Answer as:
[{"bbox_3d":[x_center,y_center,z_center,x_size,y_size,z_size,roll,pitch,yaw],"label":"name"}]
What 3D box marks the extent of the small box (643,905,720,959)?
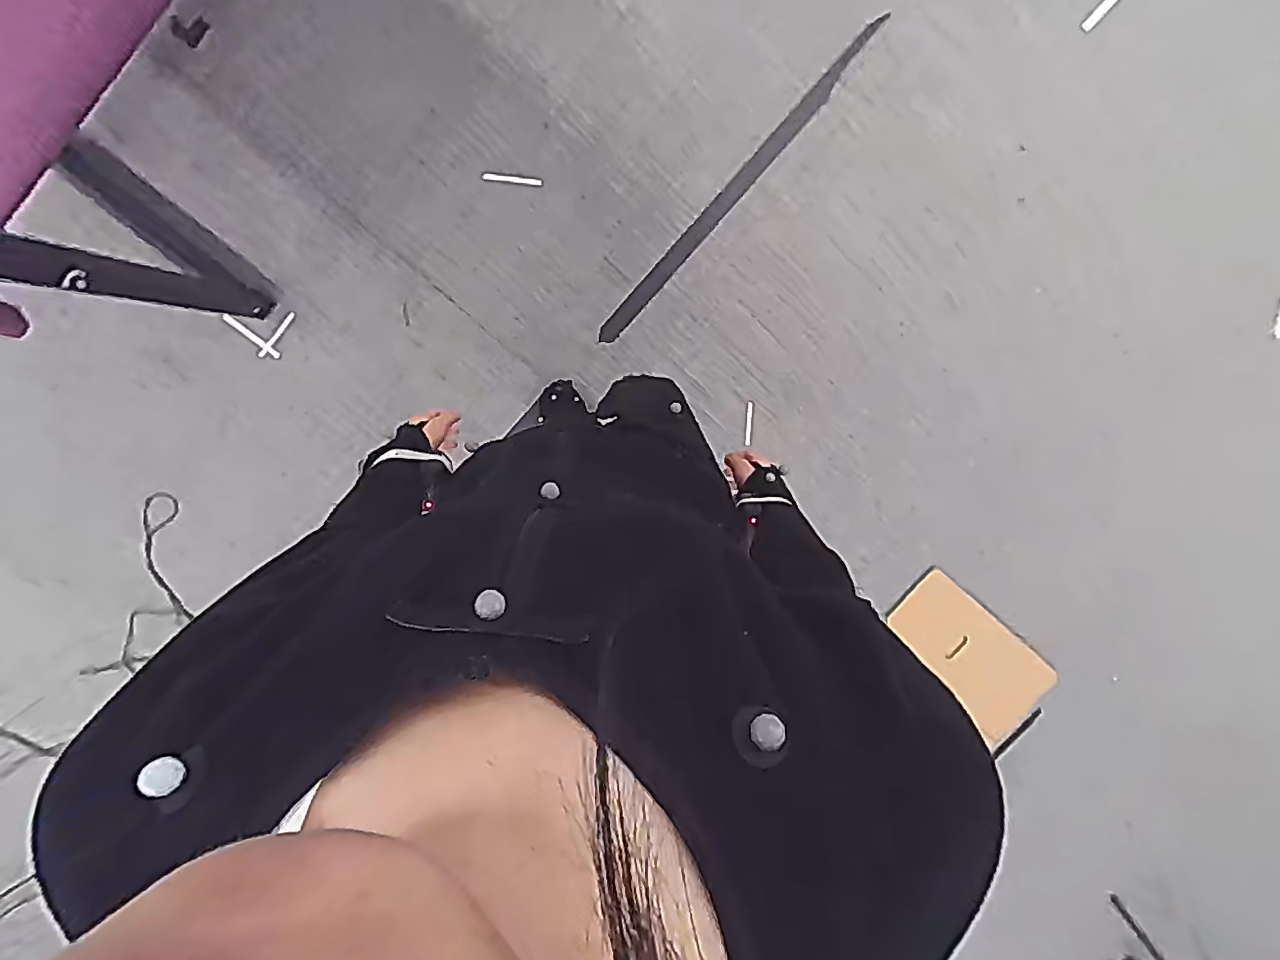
[{"bbox_3d":[0.104,1.213,1.359,0.179,0.176,0.168,0,100,-4],"label":"small box"}]
